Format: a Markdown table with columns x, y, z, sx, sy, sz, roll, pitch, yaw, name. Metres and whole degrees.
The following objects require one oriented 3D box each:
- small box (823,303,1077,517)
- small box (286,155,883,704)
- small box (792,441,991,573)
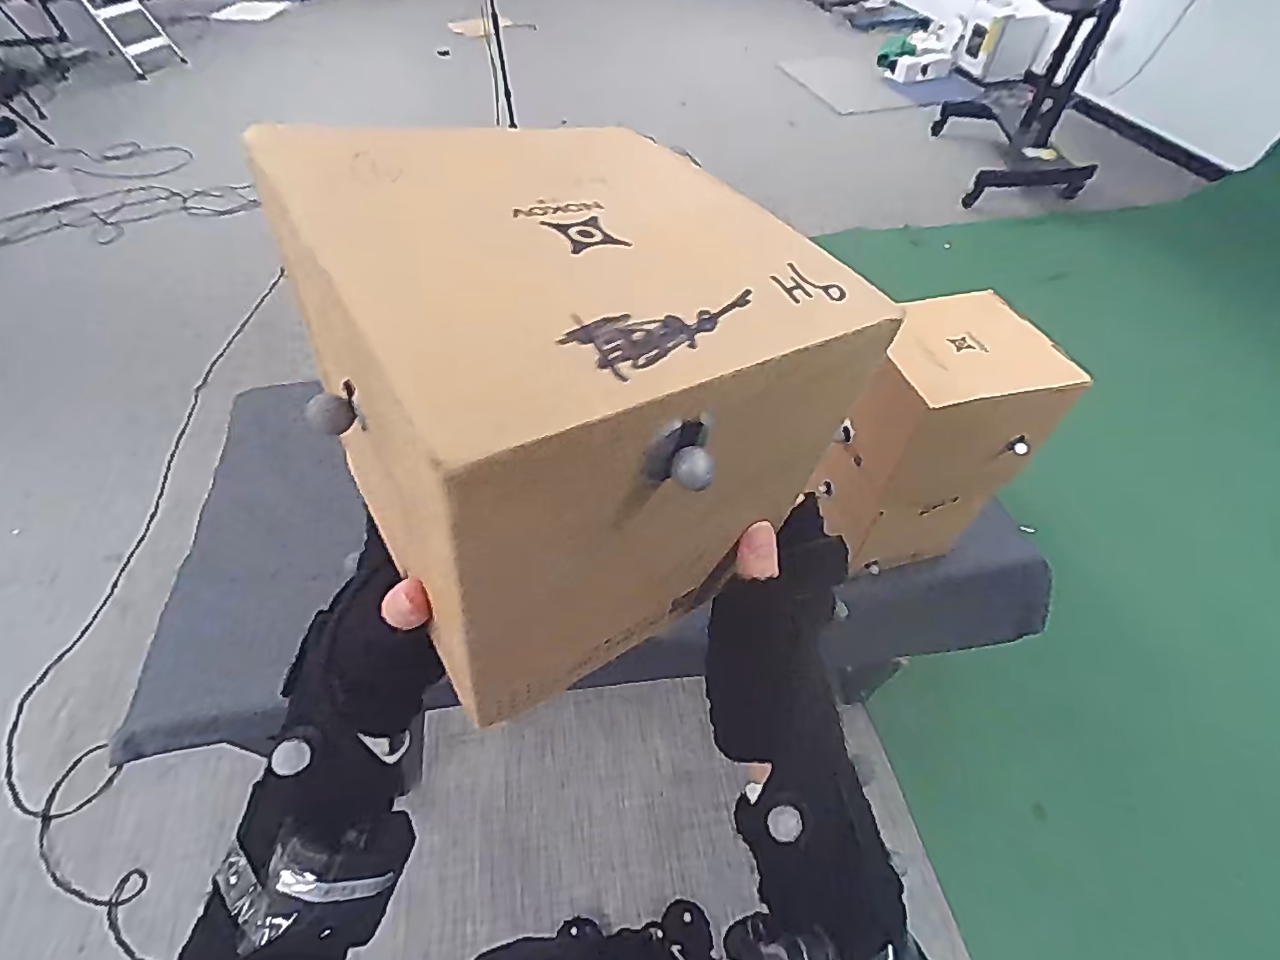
| x | y | z | sx | sy | sz | roll | pitch | yaw | name |
| --- | --- | --- | --- | --- | --- | --- | --- | --- | --- |
| 0.336 | -0.079 | 0.635 | 0.179 | 0.176 | 0.168 | -11 | 50 | -6 | small box |
| -0.036 | -0.032 | 0.258 | 0.168 | 0.176 | 0.179 | -22 | 56 | -30 | small box |
| 0.337 | 0.015 | 0.766 | 0.168 | 0.176 | 0.179 | -12 | 51 | -9 | small box |
